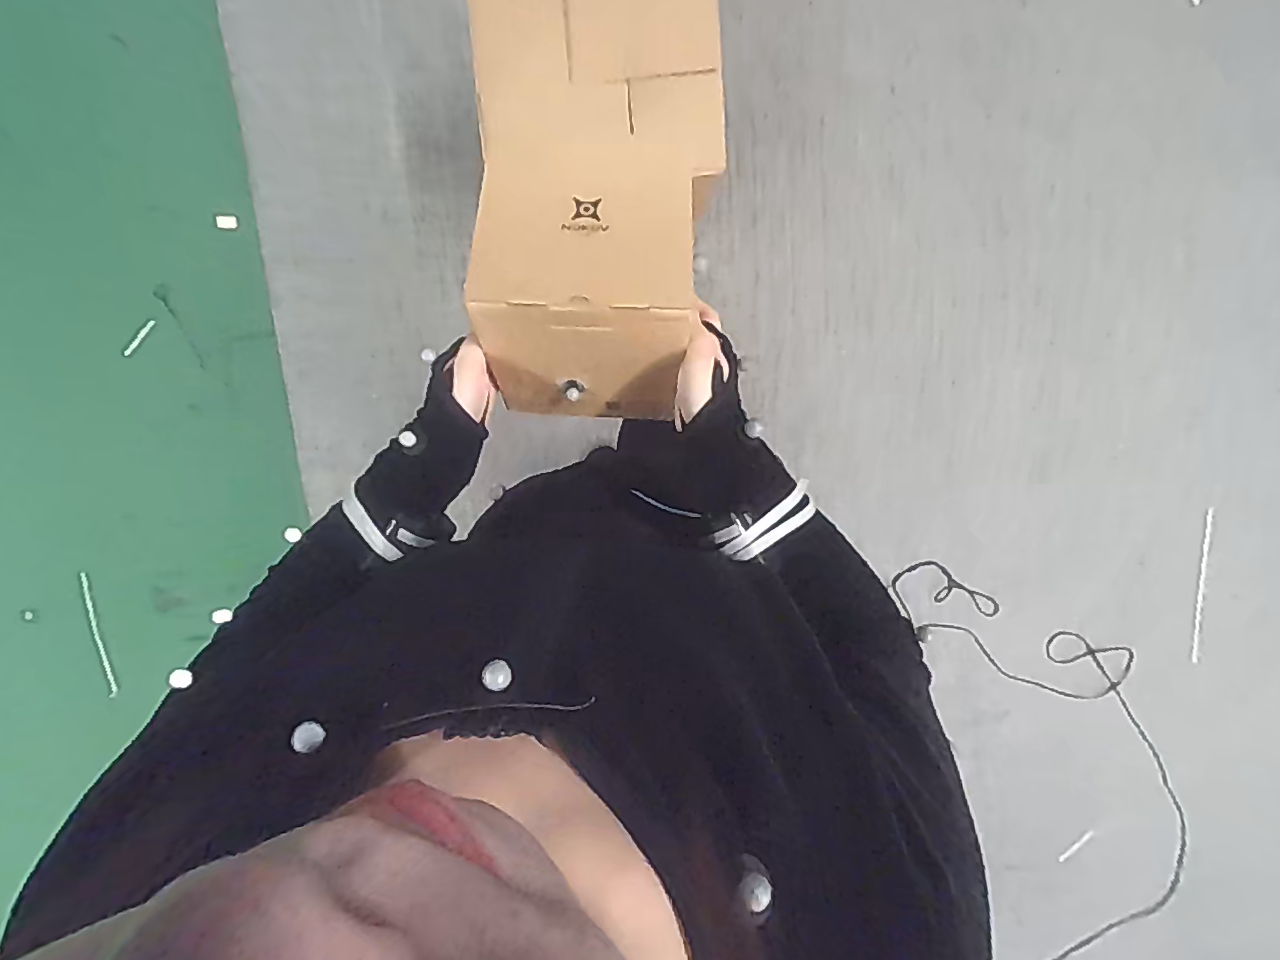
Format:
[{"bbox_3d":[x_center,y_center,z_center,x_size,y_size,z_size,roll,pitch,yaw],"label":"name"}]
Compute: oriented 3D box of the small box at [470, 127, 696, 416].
[{"bbox_3d":[-0.043,-0.178,0.494,0.168,0.176,0.179,3,70,-2],"label":"small box"}]
